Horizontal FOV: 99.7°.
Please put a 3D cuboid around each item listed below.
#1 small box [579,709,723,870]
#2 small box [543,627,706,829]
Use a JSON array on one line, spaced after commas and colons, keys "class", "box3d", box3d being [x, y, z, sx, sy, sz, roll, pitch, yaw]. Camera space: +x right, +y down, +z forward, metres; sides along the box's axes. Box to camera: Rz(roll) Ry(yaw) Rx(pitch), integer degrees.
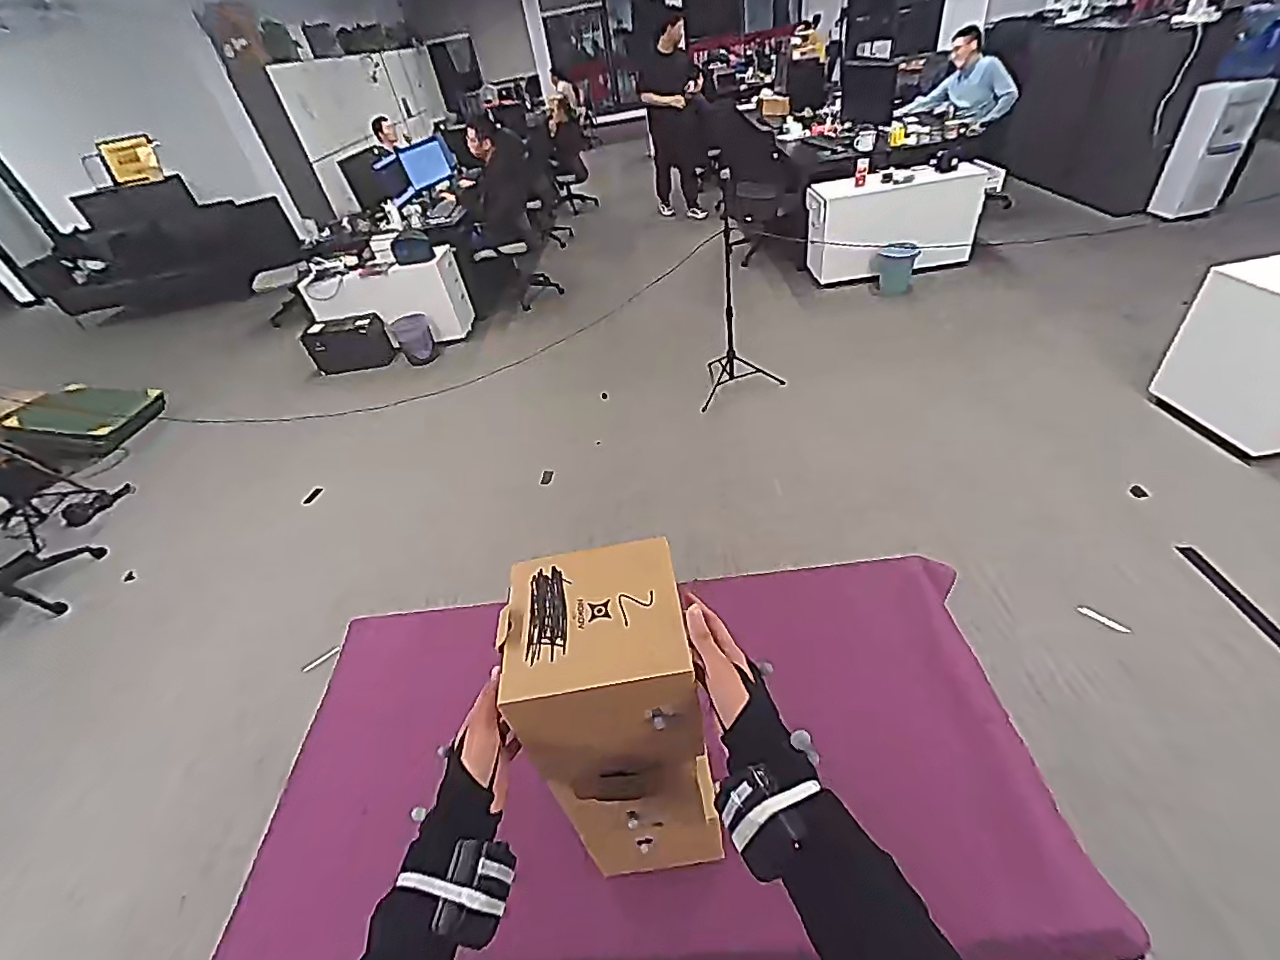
[{"class": "small box", "box3d": [0.016, 0.436, 0.779, 0.179, 0.176, 0.168, -9, 40, 1]}, {"class": "small box", "box3d": [-0.009, 0.310, 0.677, 0.168, 0.176, 0.179, -6, 40, 7]}]
